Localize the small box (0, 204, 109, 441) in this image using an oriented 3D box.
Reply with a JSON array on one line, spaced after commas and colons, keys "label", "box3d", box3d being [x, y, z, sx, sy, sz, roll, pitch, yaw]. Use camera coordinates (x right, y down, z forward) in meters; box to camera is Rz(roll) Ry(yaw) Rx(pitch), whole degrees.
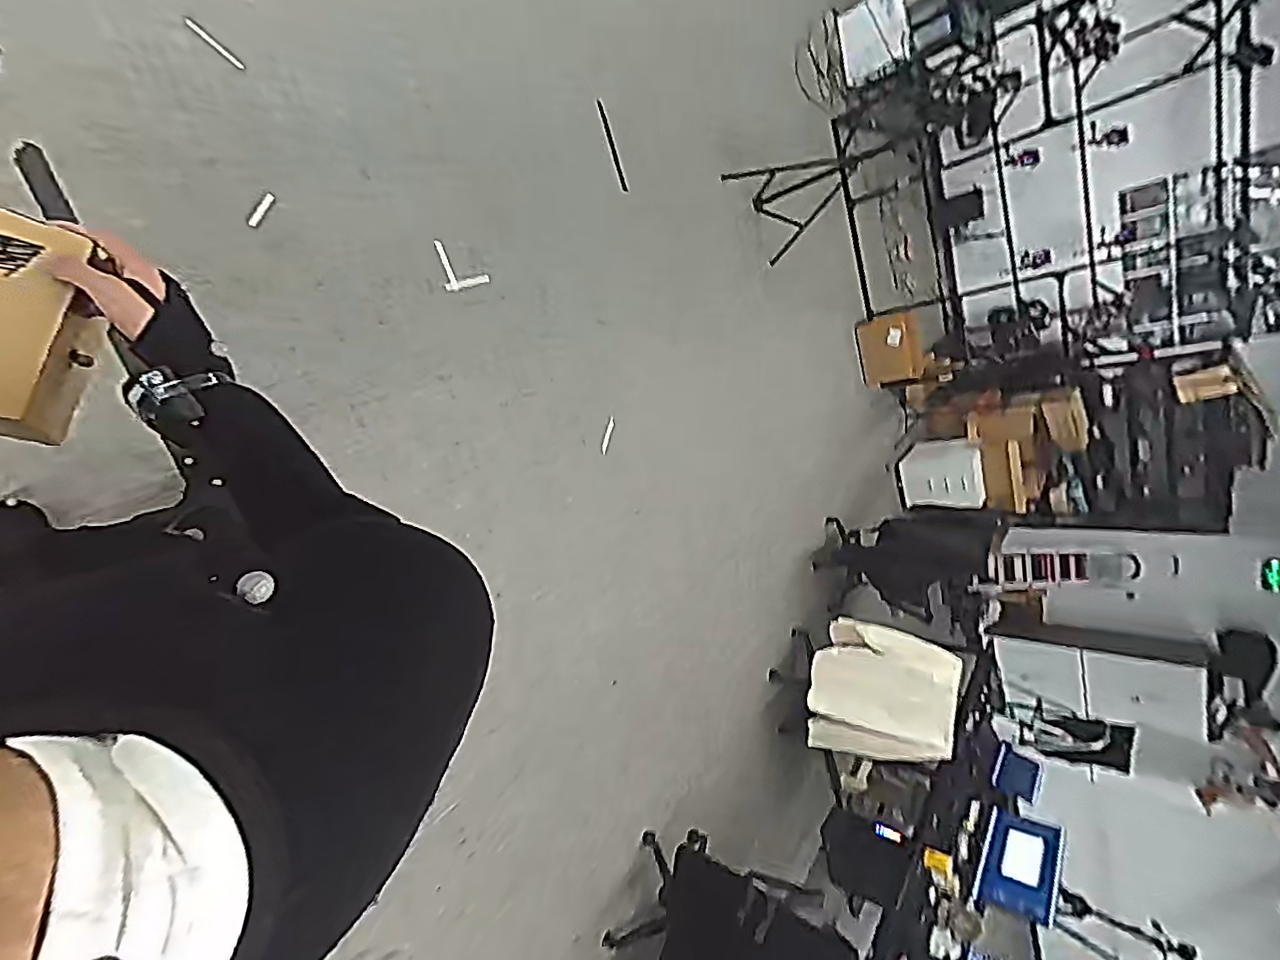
[{"label": "small box", "box3d": [-0.612, -0.146, 0.482, 0.168, 0.176, 0.179, 17, 75, -37]}]
